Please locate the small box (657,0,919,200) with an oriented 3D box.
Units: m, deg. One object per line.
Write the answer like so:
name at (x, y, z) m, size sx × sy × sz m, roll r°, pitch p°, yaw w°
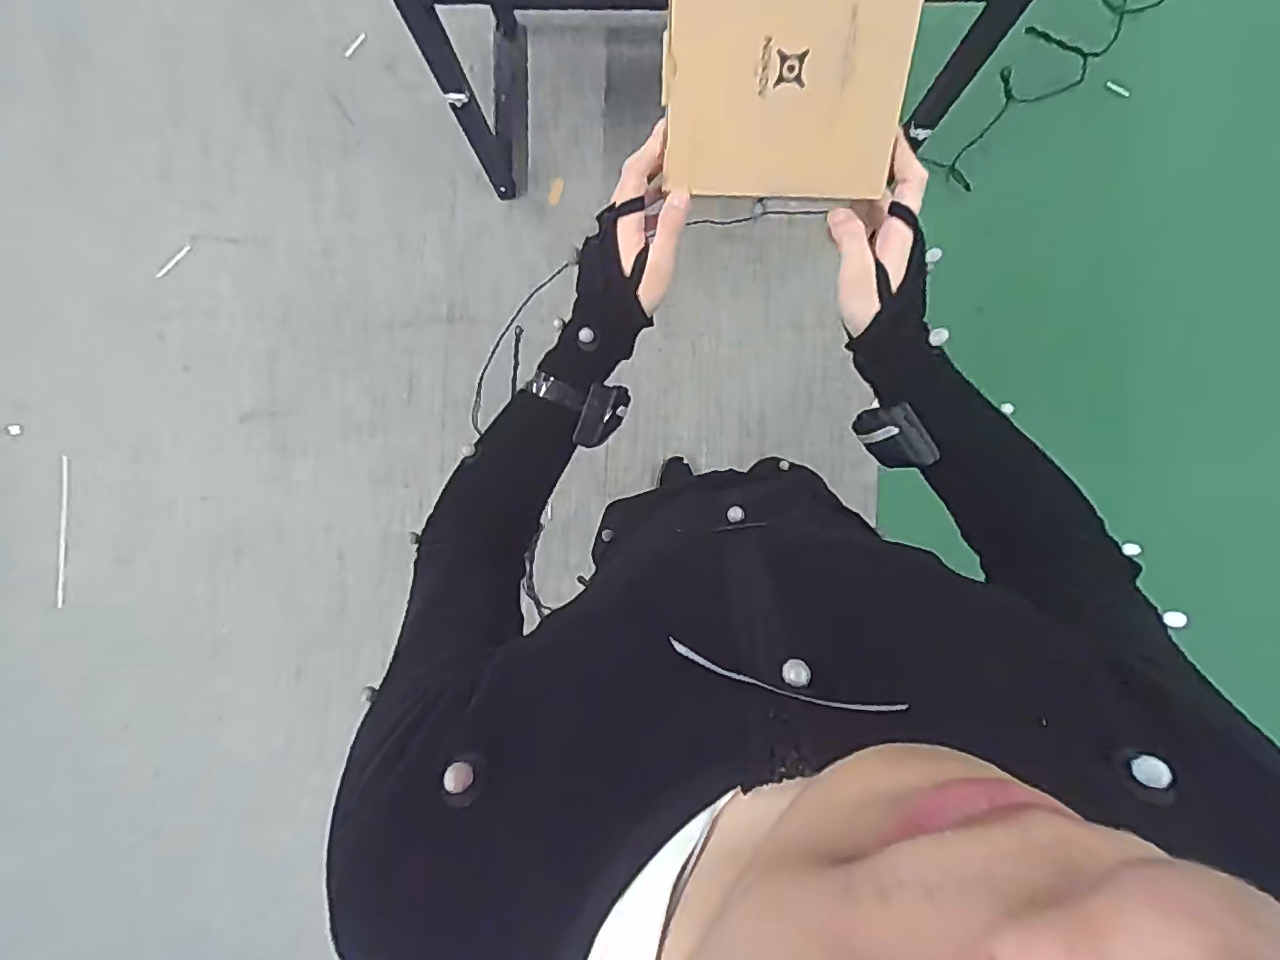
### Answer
small box at (0.113, -0.335, 0.462) m, size 0.179 × 0.176 × 0.168 m, roll 4°, pitch 119°, yaw 5°
